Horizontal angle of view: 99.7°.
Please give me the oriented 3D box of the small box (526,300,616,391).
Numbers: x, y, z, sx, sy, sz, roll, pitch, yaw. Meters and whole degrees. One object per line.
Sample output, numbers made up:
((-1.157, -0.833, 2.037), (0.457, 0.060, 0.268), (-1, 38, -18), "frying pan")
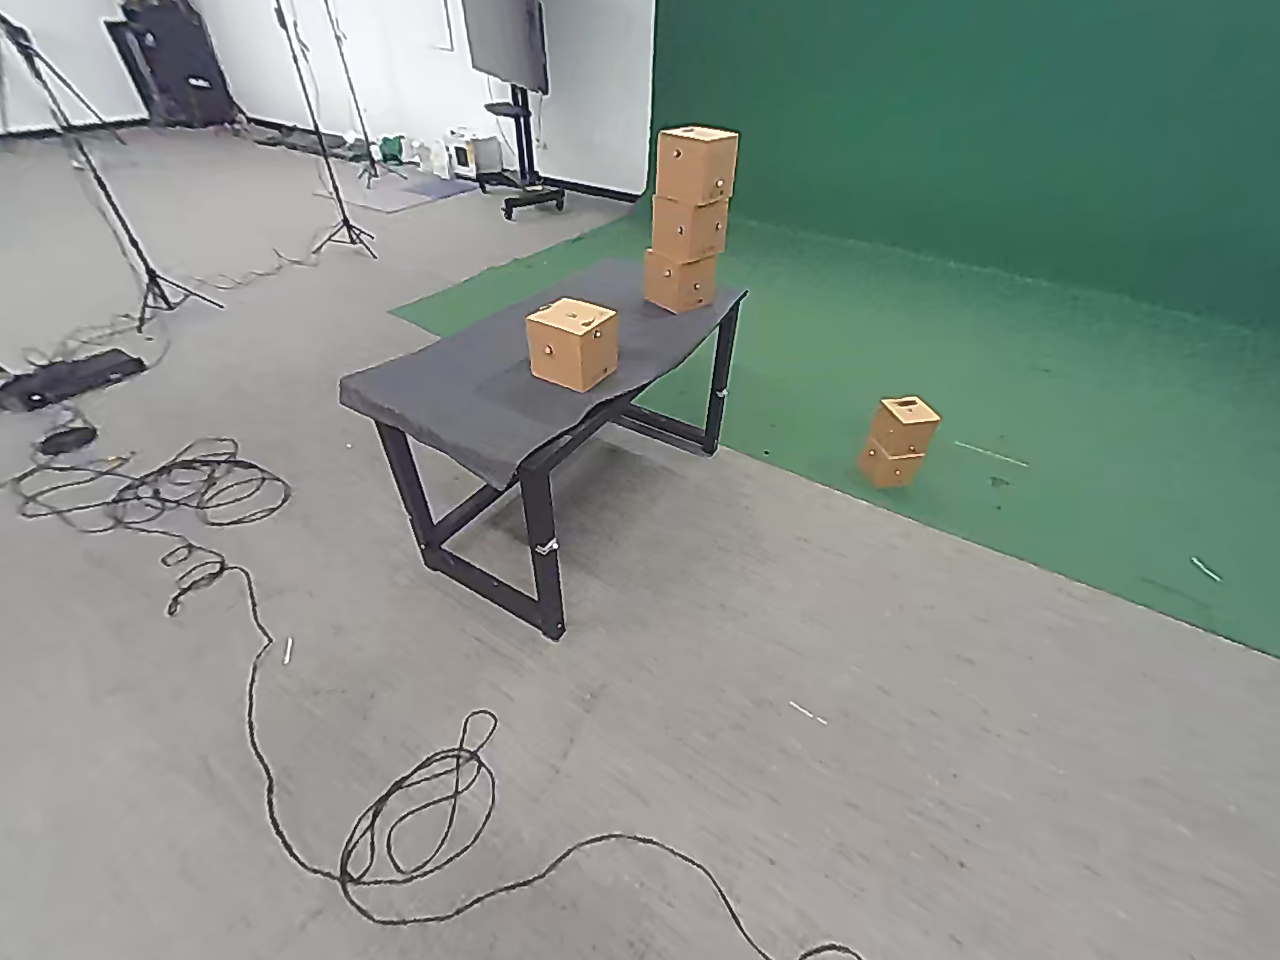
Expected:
((-0.178, -0.357, 1.438), (0.179, 0.176, 0.168), (22, 45, 23), "small box")

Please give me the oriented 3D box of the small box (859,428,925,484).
((1.061, -0.094, 2.293), (0.168, 0.176, 0.179), (-7, 42, -10), "small box")

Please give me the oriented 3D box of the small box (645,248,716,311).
((0.131, -0.682, 1.809), (0.168, 0.176, 0.179), (-27, 47, -29), "small box")

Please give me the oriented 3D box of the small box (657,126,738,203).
((0.164, -0.937, 1.605), (0.179, 0.176, 0.168), (30, 48, 29), "small box")

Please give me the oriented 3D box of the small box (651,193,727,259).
((0.152, -0.811, 1.711), (0.168, 0.176, 0.179), (-30, 48, -32), "small box")
